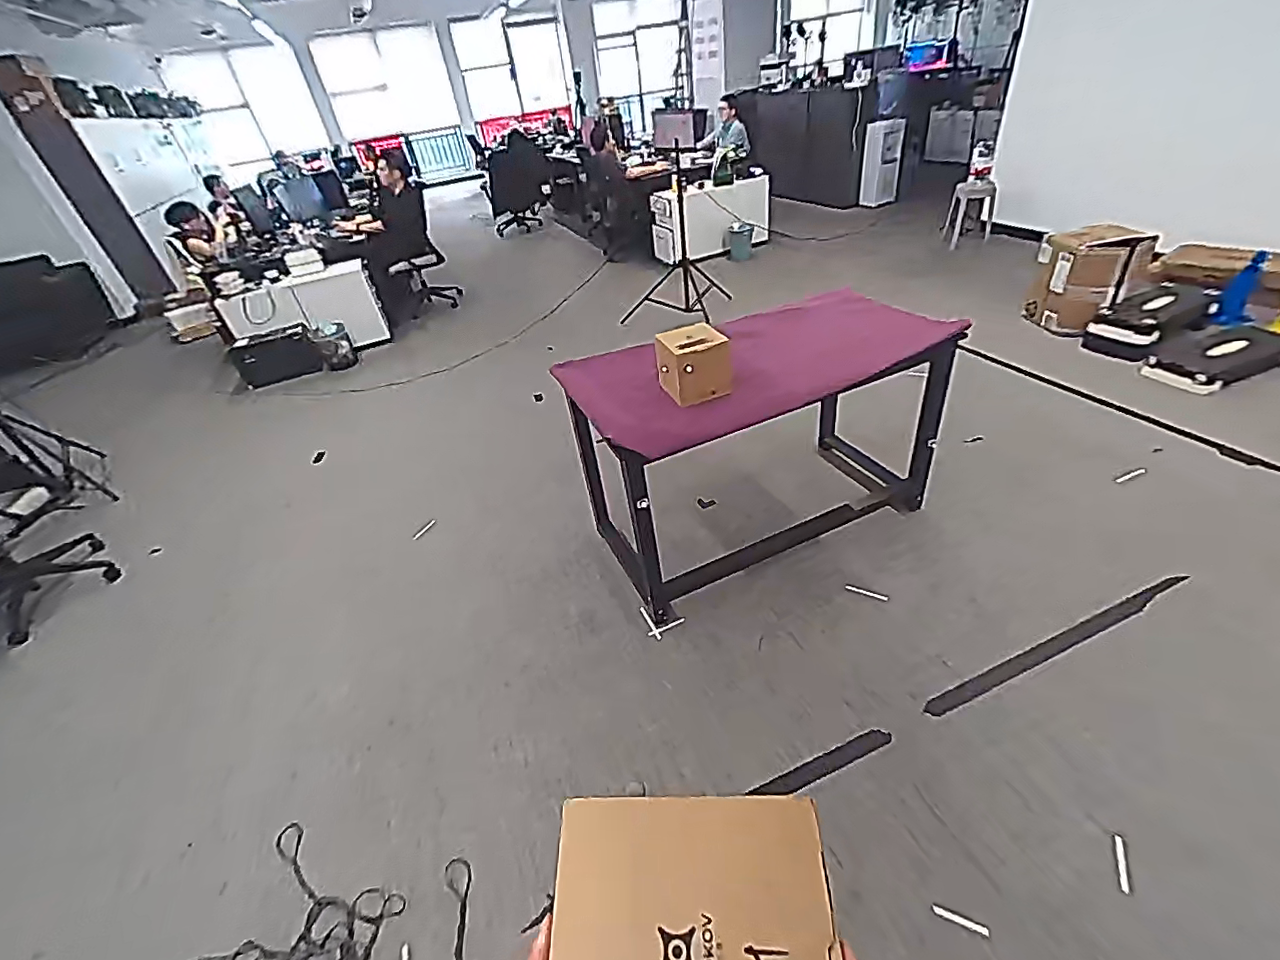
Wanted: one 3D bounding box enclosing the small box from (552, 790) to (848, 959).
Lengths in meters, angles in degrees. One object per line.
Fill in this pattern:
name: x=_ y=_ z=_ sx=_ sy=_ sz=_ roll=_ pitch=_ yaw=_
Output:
small box: x=0.044 y=0.326 z=0.378 sx=0.179 sy=0.176 sz=0.168 roll=-4 pitch=50 yaw=6
